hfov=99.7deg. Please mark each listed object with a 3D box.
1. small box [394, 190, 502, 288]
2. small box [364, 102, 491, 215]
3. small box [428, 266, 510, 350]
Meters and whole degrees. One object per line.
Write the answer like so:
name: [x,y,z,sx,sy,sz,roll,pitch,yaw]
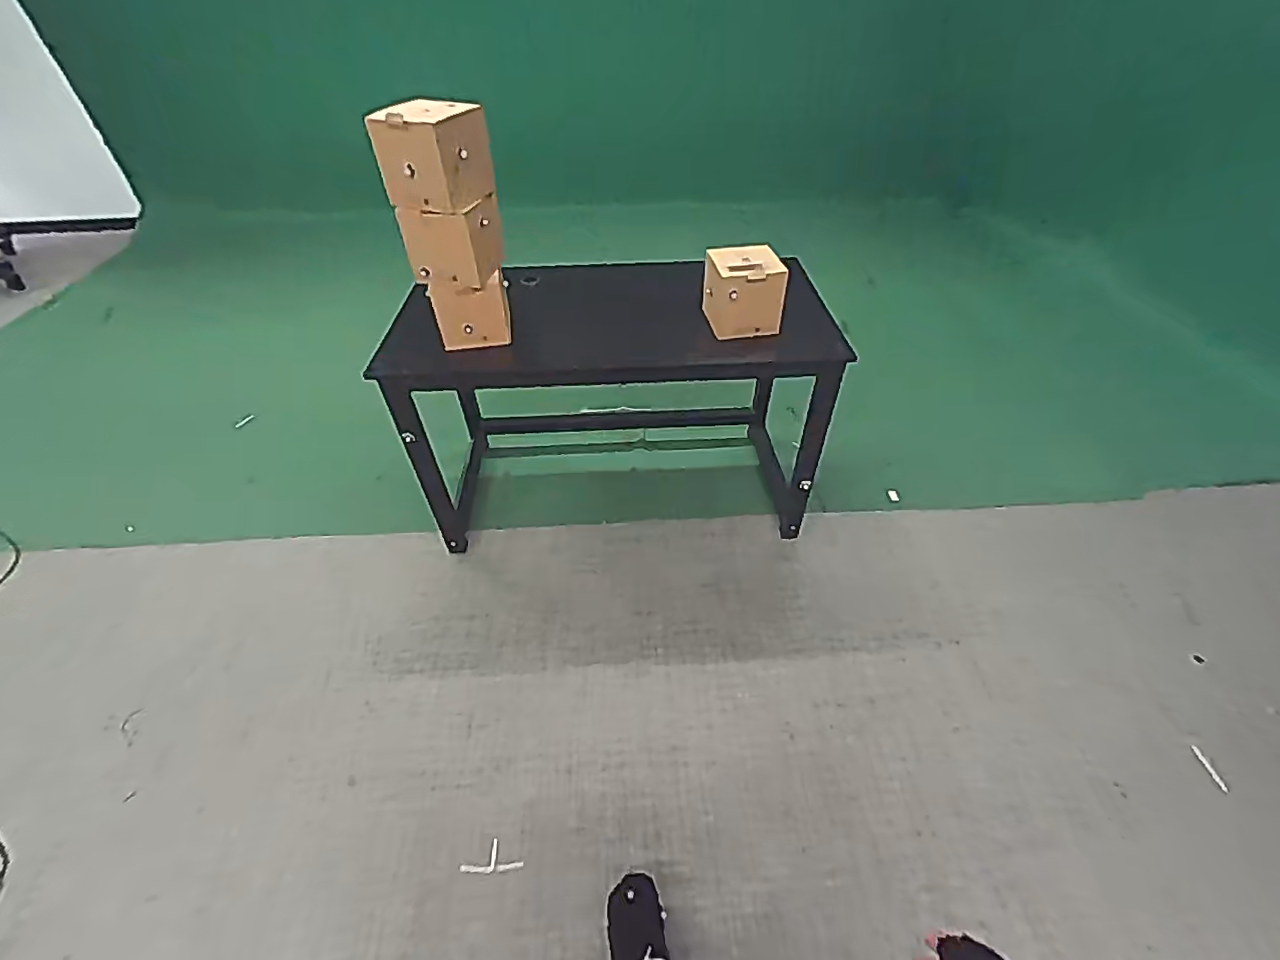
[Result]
small box: [-0.439,-0.571,1.276,0.168,0.176,0.179,7,45,7]
small box: [-0.443,-0.692,1.165,0.168,0.176,0.179,15,48,14]
small box: [-0.434,-0.454,1.392,0.168,0.176,0.179,-8,46,-8]
